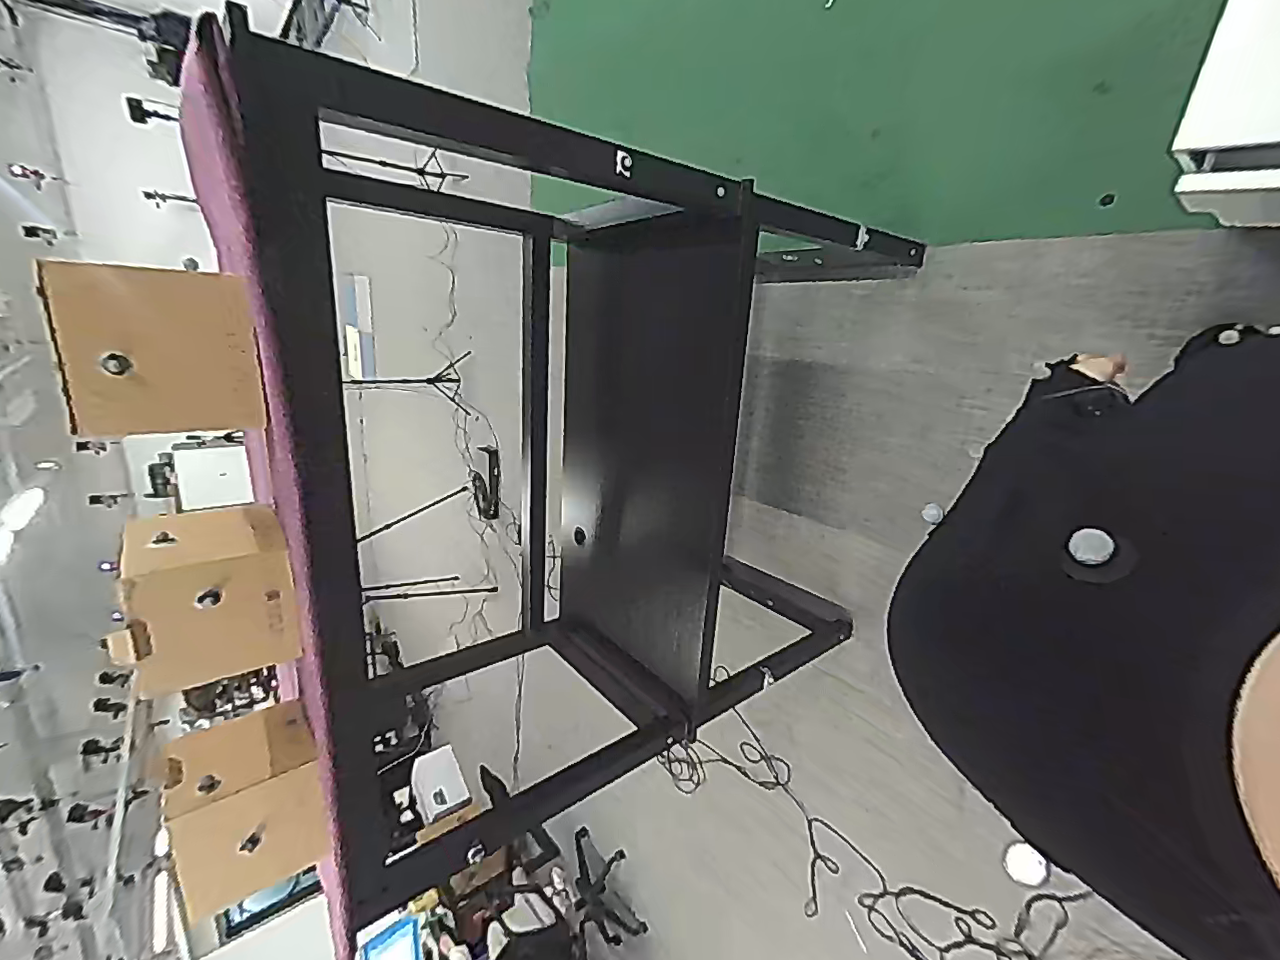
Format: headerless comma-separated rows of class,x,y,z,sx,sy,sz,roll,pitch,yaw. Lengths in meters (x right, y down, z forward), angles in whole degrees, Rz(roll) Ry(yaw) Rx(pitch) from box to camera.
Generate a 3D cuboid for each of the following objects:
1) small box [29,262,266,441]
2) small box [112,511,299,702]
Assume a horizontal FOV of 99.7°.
small box,-0.555,-0.153,0.637,0.168,0.176,0.179,22,115,50
small box,-0.562,0.150,0.716,0.179,0.176,0.168,26,116,47
